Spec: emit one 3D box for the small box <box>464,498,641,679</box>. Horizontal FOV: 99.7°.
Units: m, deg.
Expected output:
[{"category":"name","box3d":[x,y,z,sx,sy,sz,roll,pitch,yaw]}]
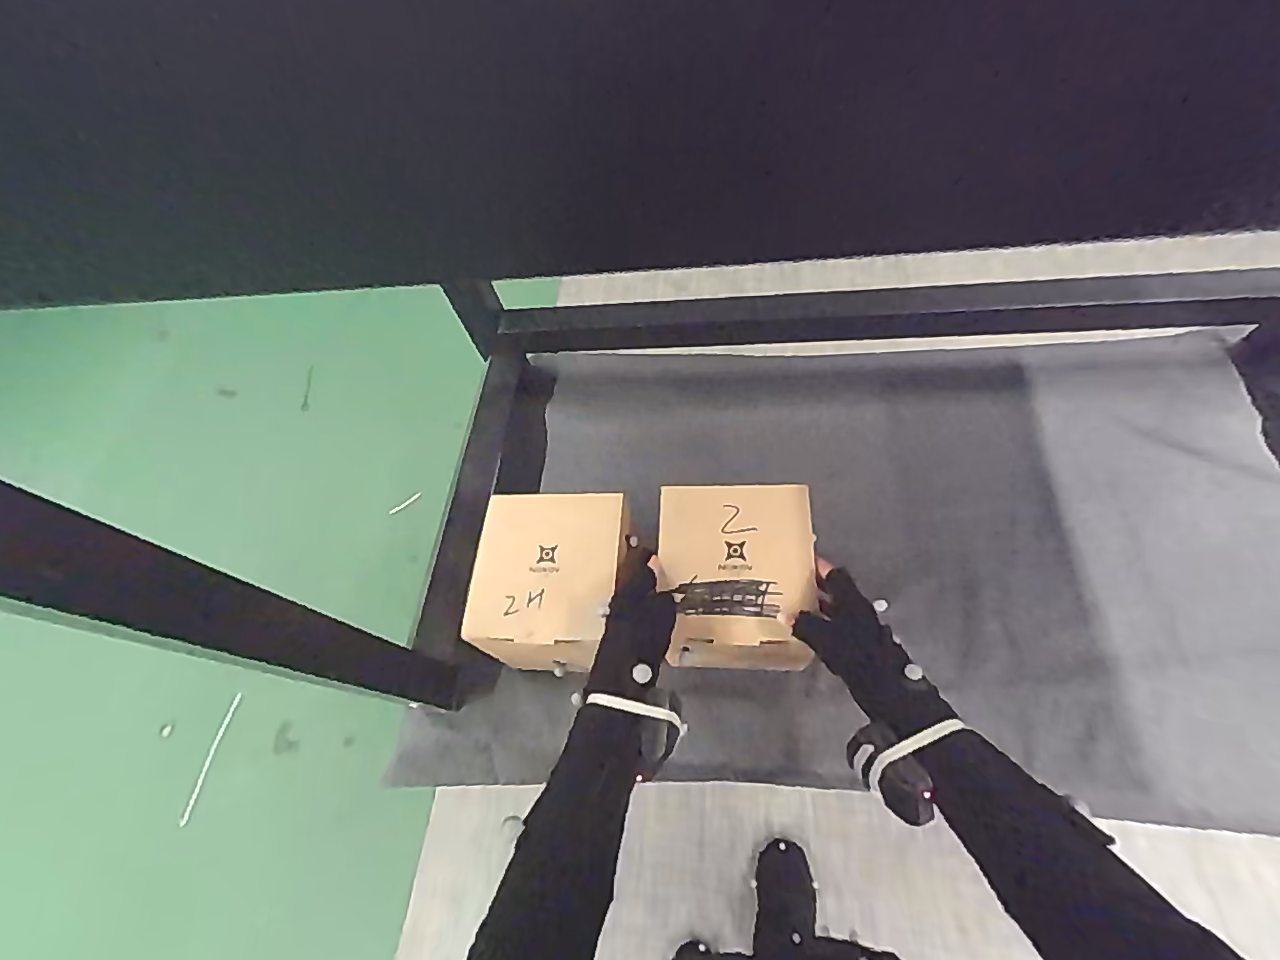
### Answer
[{"category":"small box","box3d":[-0.092,0.138,0.672,0.168,0.176,0.179,-1,60,9]}]
